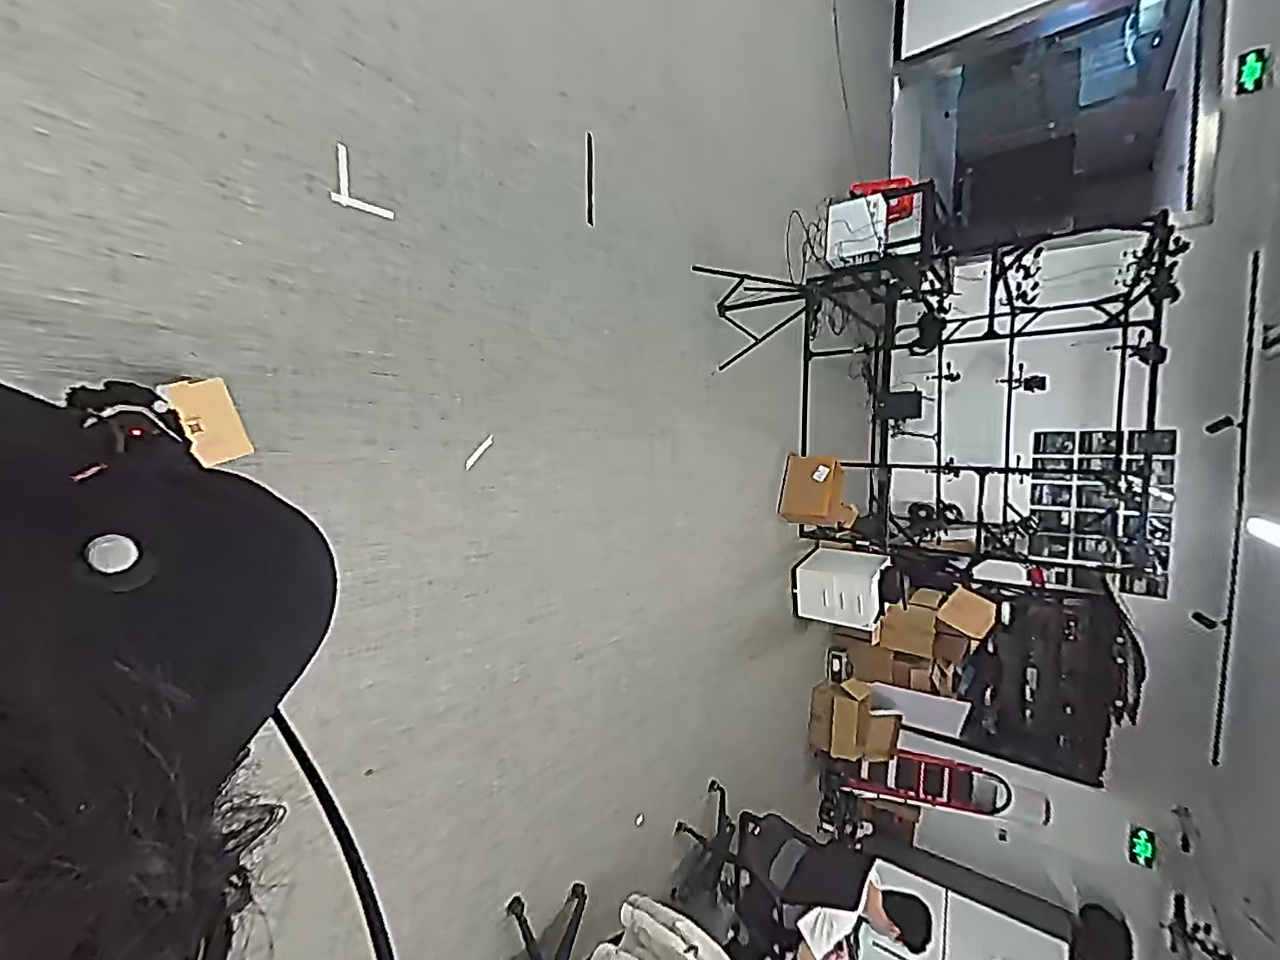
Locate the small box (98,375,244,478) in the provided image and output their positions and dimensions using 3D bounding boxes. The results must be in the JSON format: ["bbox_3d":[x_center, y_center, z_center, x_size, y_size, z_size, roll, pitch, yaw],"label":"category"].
[{"bbox_3d":[-0.992,-0.114,1.143,0.168,0.176,0.179,-32,119,-46],"label":"small box"}]
